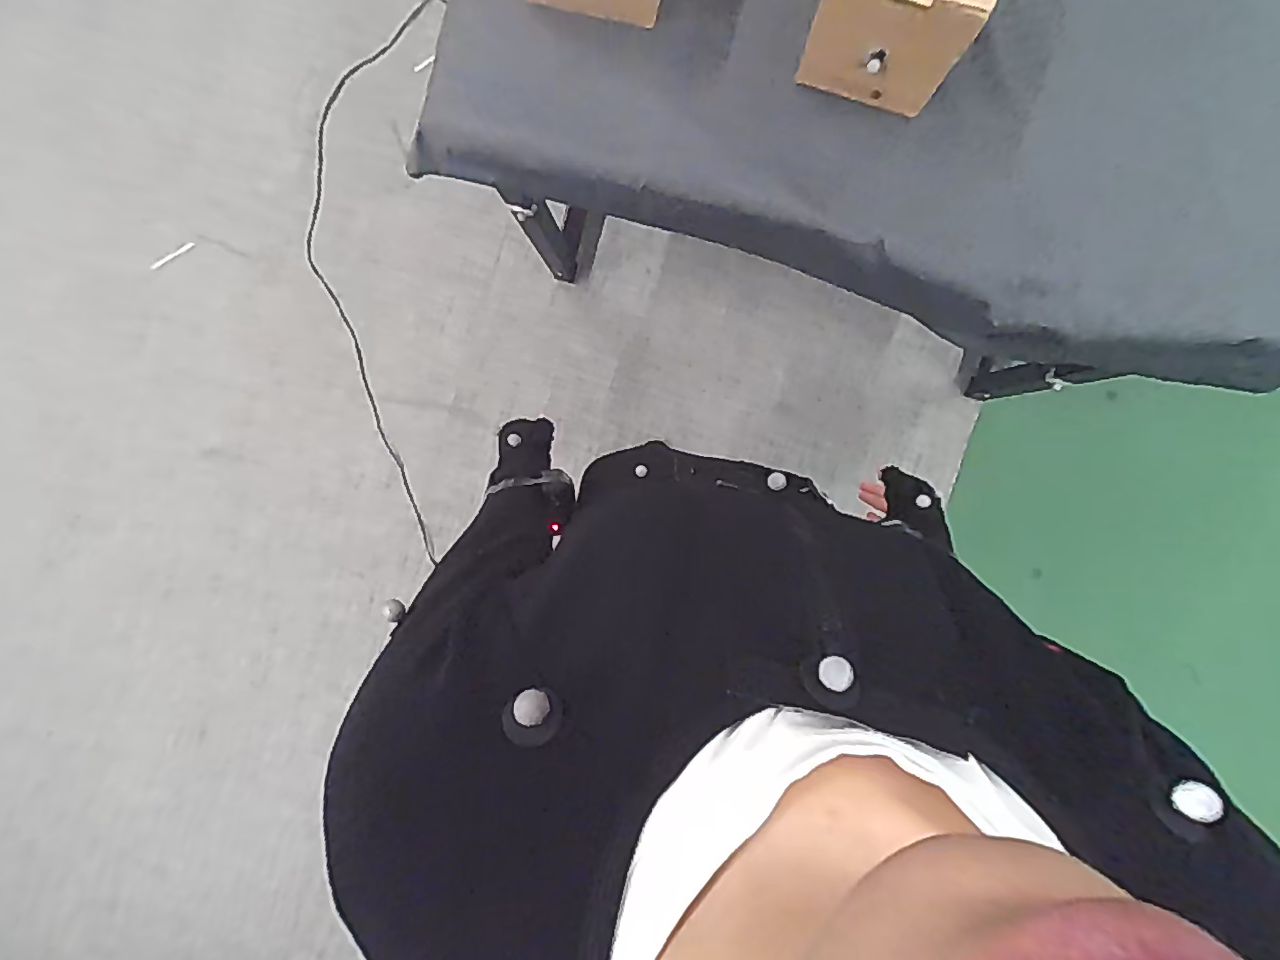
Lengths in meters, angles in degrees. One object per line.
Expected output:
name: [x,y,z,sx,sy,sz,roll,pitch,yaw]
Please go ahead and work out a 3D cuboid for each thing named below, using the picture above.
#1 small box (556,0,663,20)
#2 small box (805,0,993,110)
small box: [-0.046,-0.693,0.630,0.179,0.176,0.168,14,94,1]
small box: [0.305,-0.574,0.620,0.168,0.176,0.179,19,94,2]
